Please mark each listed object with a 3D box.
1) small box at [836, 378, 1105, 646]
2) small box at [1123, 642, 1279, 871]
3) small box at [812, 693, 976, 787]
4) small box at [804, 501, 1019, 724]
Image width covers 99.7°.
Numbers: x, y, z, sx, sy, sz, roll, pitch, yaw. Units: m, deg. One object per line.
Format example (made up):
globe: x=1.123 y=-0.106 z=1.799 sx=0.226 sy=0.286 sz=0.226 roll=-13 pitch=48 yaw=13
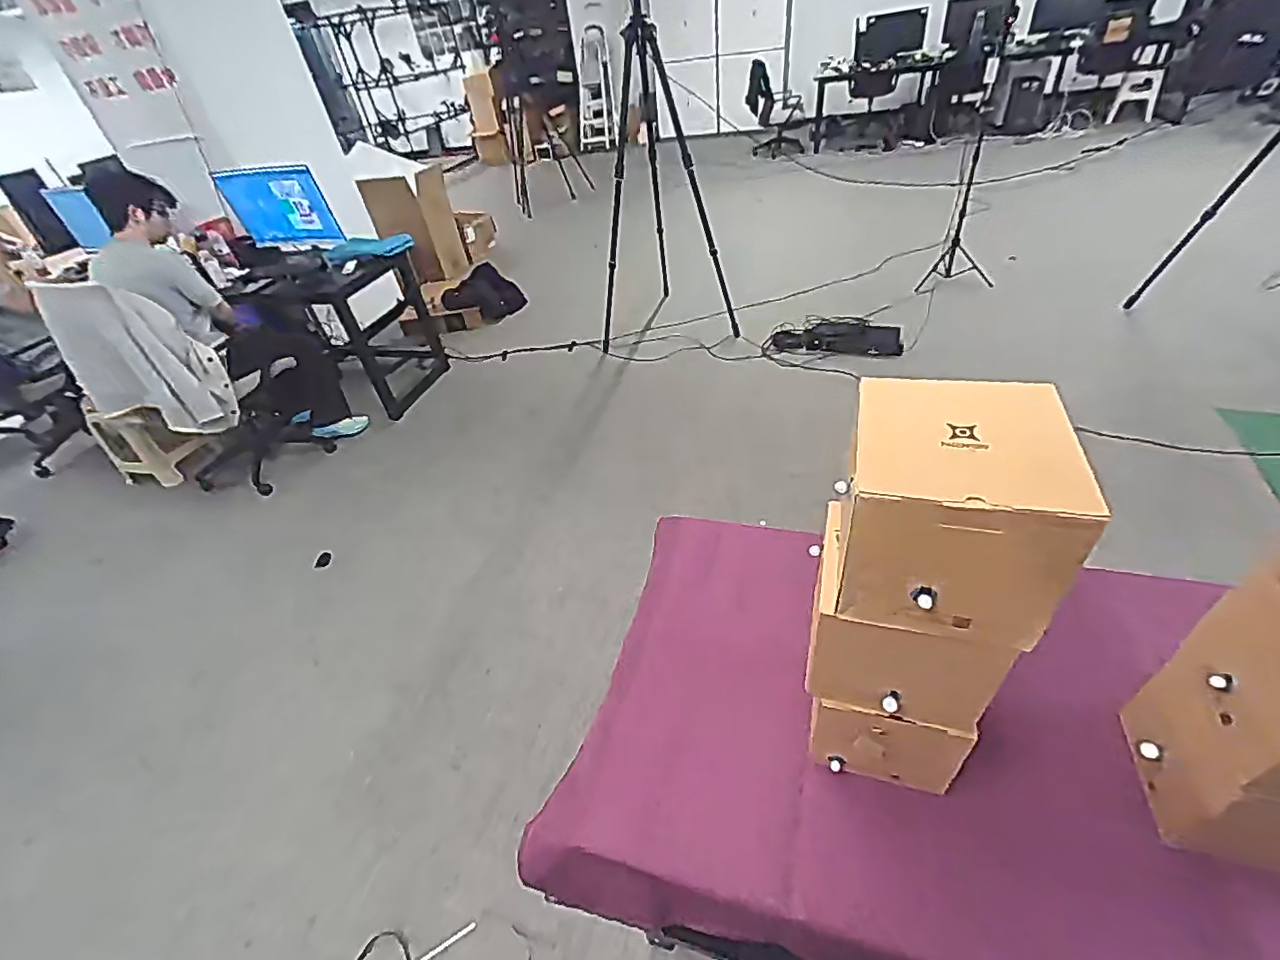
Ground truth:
small box: x=0.280 y=0.024 z=0.508 sx=0.168 sy=0.176 sz=0.179 roll=6 pitch=43 yaw=18
small box: x=0.695 y=0.310 z=0.596 sx=0.179 sy=0.176 sz=0.168 roll=7 pitch=43 yaw=18
small box: x=0.323 y=0.273 z=0.717 sx=0.168 sy=0.176 sz=0.179 roll=6 pitch=42 yaw=17
small box: x=0.291 y=0.149 z=0.614 sx=0.179 sy=0.176 sz=0.168 roll=7 pitch=43 yaw=18
